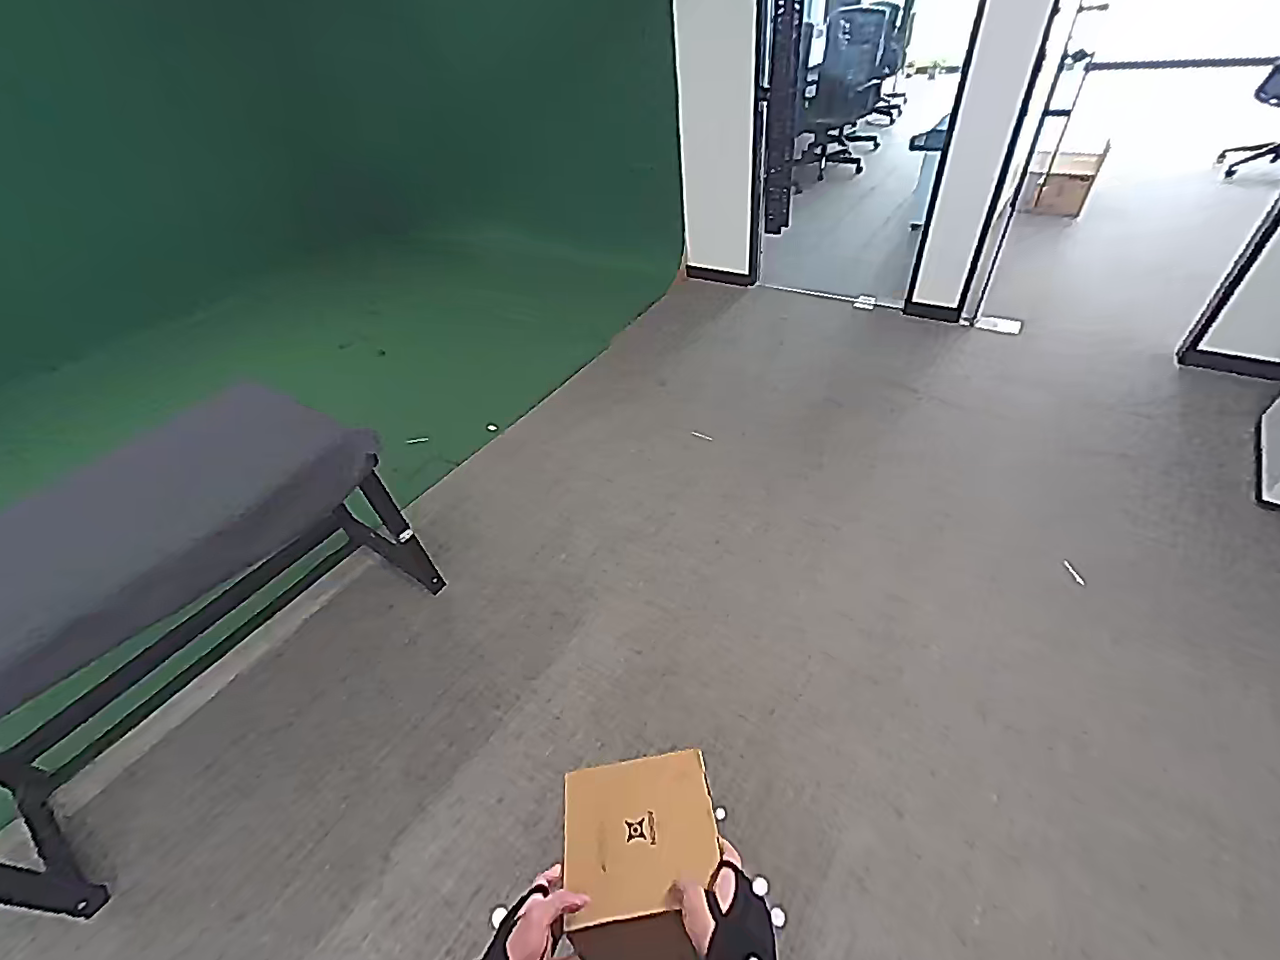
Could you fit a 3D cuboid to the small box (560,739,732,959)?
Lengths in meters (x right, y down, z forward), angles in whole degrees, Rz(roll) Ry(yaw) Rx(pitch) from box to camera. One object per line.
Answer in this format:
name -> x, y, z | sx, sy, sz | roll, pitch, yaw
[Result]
small box -> 0.010, 0.447, 0.652 | 0.179, 0.176, 0.168 | -10, 31, 1
